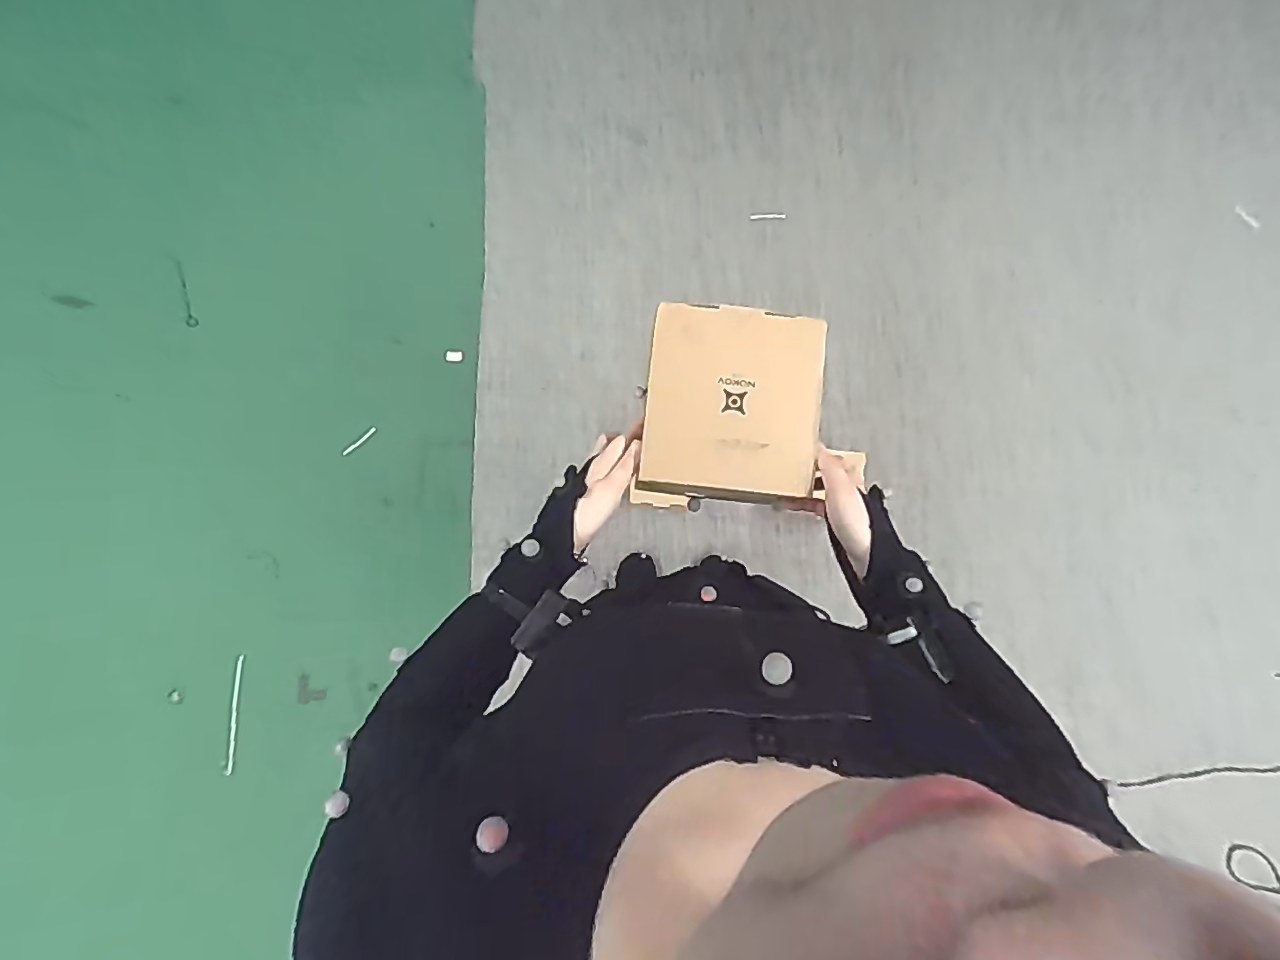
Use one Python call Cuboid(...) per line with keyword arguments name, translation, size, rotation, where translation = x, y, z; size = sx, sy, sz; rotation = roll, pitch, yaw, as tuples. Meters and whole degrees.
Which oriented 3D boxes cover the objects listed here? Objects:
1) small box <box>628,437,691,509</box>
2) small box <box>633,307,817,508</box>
Cuboid(name="small box", translation=(0.061, -0.014, 1.479), size=(0.168, 0.176, 0.179), rotation=(4, 84, 2))
Cuboid(name="small box", translation=(0.082, -0.067, 0.599), size=(0.168, 0.176, 0.179), rotation=(6, 85, -1))
